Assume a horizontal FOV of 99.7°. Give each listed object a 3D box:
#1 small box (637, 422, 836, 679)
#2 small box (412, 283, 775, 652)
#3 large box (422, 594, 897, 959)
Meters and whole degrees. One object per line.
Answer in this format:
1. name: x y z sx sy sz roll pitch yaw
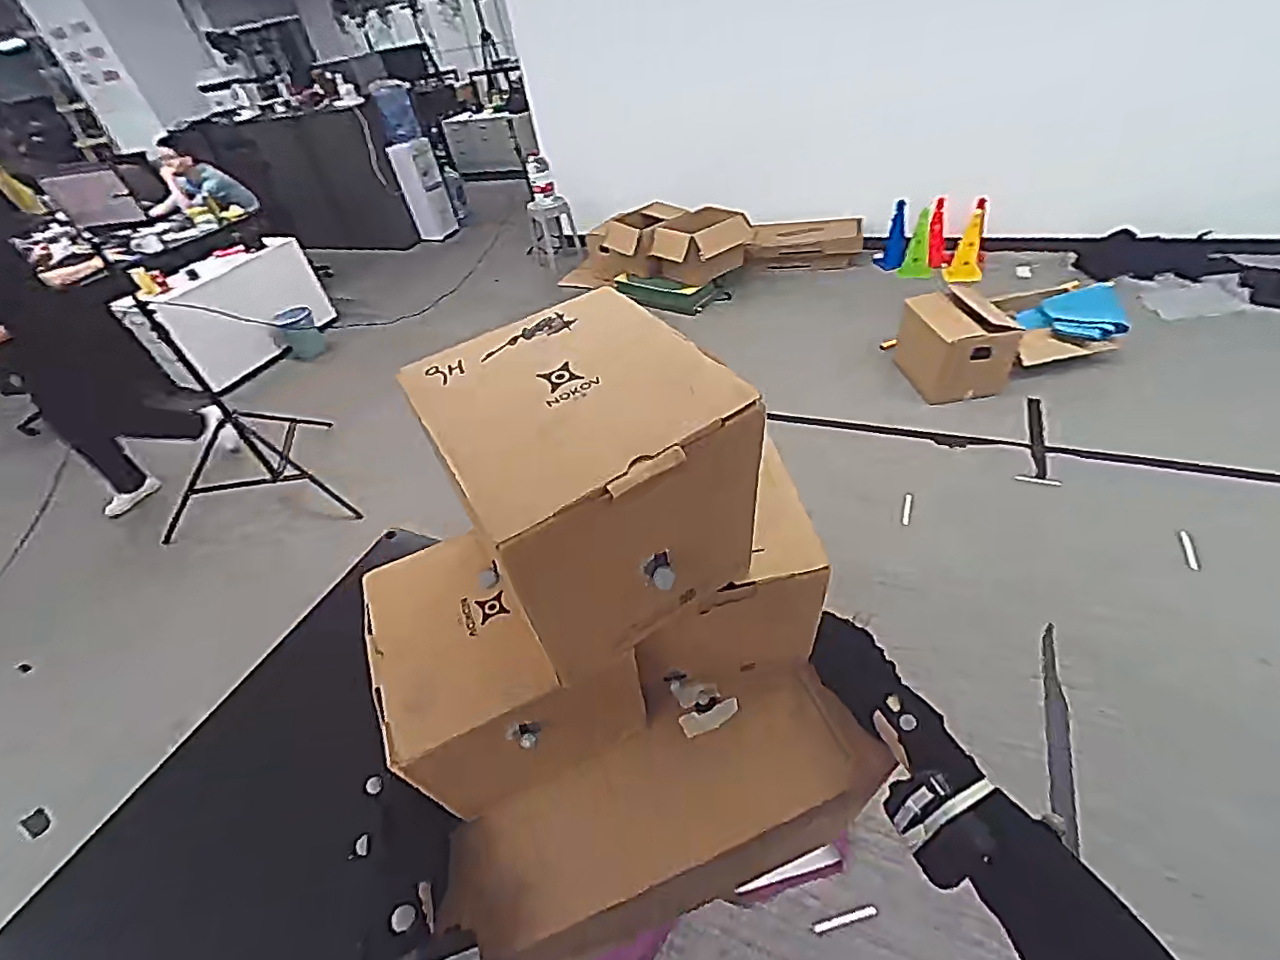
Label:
1. small box: 0.070 0.073 0.522 0.168 0.176 0.179 -11 46 -1
2. small box: -0.029 -0.004 0.384 0.168 0.176 0.179 -28 51 -18
3. large box: 0.007 0.308 0.647 0.408 0.320 0.320 -19 48 -11
